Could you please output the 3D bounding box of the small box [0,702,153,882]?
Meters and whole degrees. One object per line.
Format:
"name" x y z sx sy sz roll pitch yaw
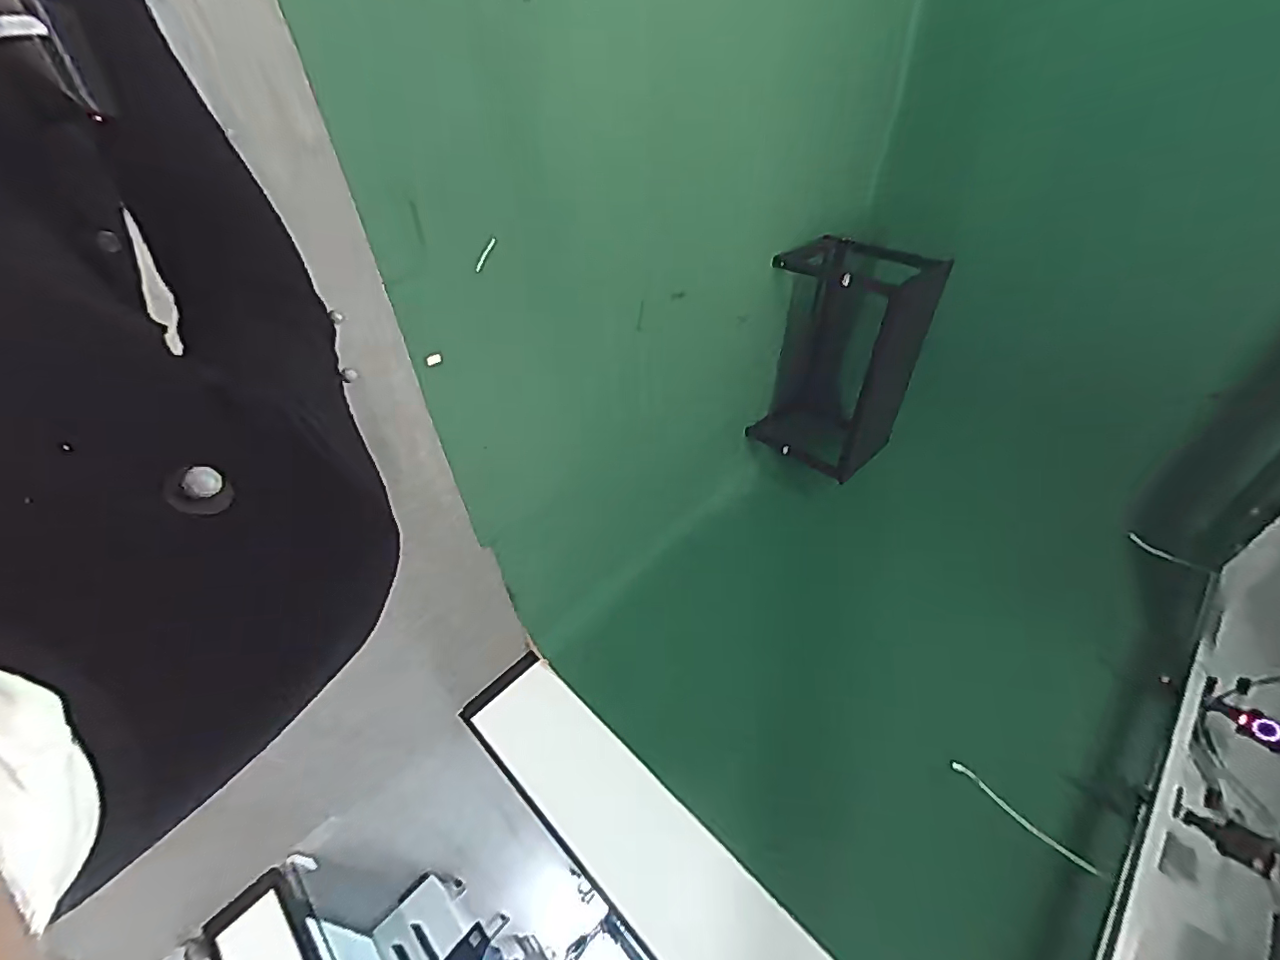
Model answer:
"small box" -0.967 0.502 0.891 0.168 0.176 0.179 -35 140 -31
